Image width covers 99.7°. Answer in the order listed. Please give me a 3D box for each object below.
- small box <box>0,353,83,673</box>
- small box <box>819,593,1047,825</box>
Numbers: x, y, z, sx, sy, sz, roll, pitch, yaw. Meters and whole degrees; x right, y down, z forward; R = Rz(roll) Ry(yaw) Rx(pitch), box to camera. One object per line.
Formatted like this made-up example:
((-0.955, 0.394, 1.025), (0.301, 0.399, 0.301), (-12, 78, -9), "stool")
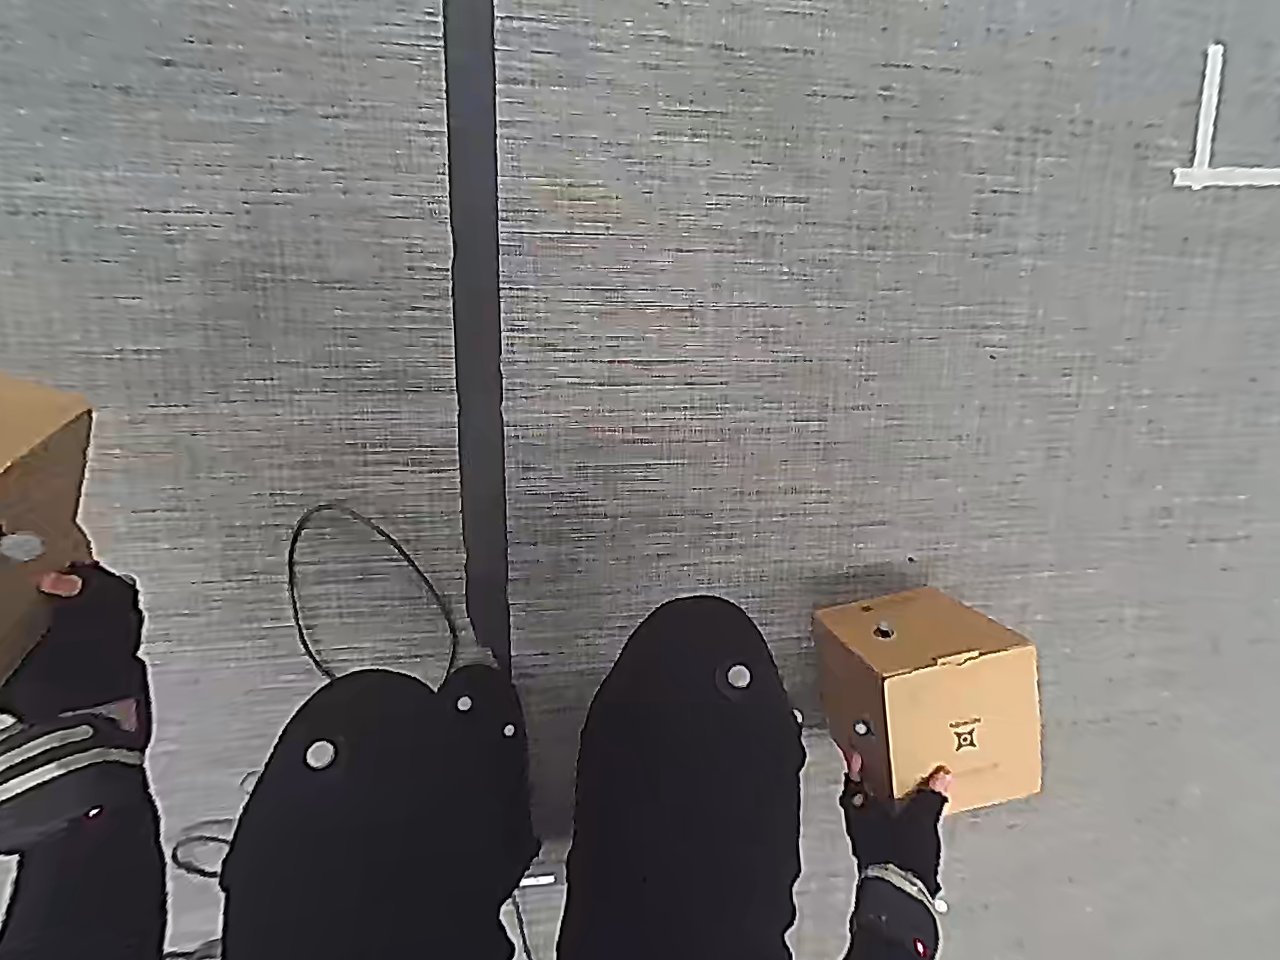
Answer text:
((-0.386, 0.031, 0.222), (0.168, 0.179, 0.176), (19, 113, -28), "small box")
((0.323, 0.244, 0.624), (0.168, 0.176, 0.179), (-11, 100, -4), "small box")
